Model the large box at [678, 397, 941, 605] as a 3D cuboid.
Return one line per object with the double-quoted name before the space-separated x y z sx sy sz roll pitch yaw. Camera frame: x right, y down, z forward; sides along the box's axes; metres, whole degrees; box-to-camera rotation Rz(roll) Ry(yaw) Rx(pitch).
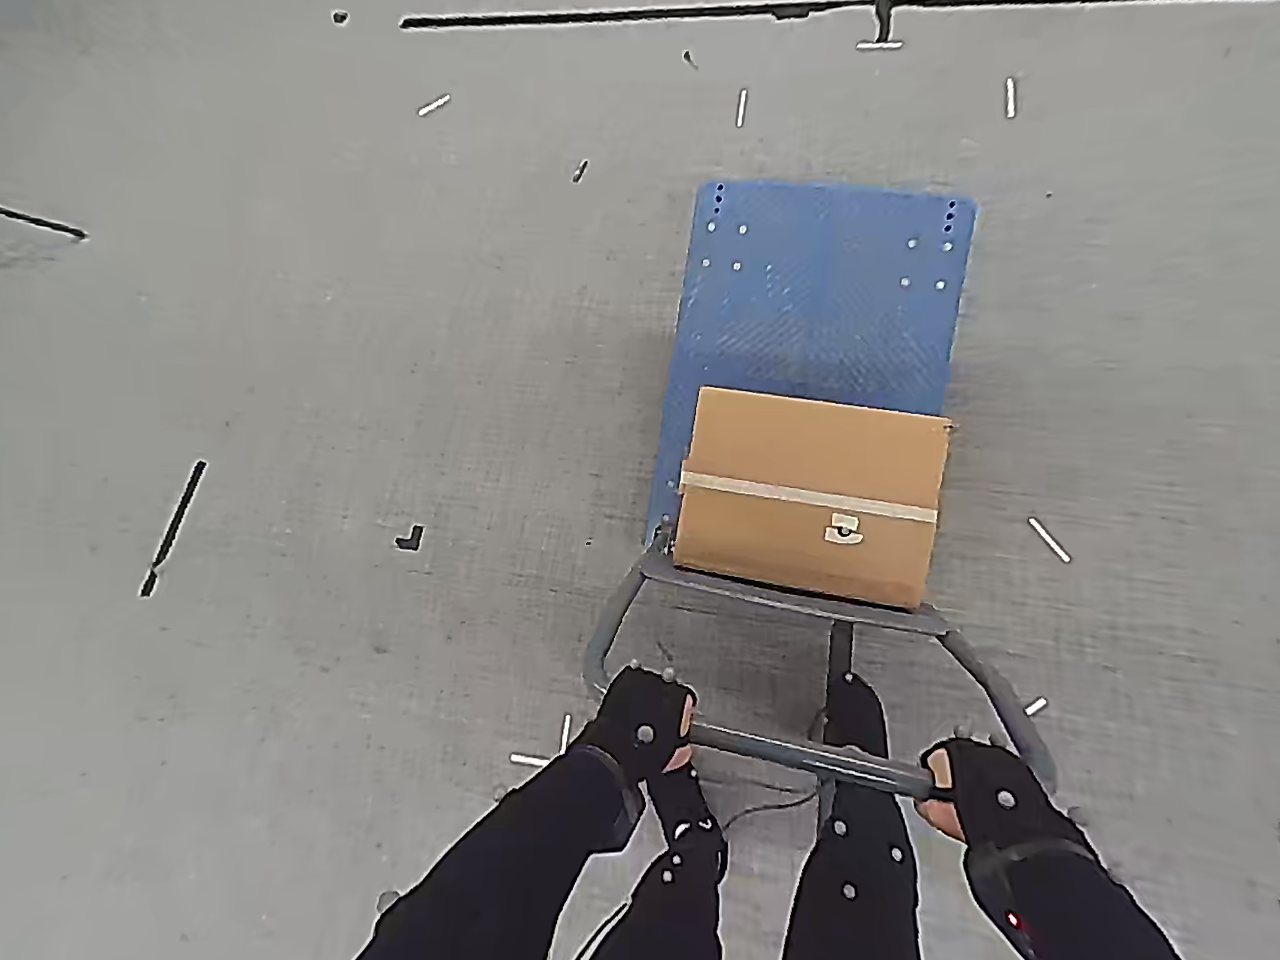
"large box" 0.299 0.029 1.058 0.408 0.320 0.320 8 93 9
